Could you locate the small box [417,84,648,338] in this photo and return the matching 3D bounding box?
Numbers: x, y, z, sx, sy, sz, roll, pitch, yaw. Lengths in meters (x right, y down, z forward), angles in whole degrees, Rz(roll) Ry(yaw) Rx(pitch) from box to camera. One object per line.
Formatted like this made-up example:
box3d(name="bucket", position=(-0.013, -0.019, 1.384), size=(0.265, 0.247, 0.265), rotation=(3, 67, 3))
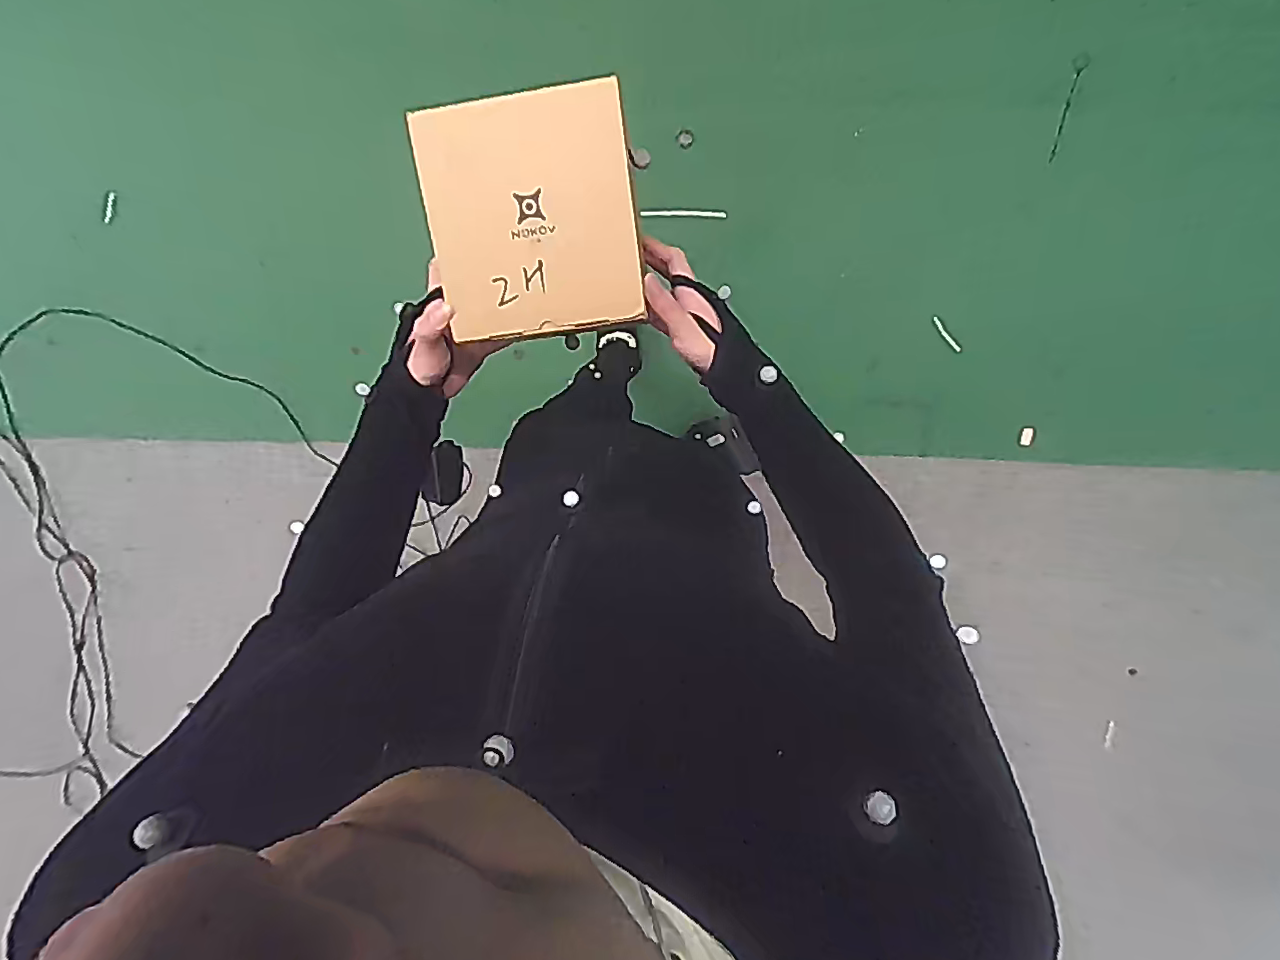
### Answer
box3d(name="small box", position=(-0.082, -0.232, 0.514), size=(0.168, 0.176, 0.179), rotation=(-5, 105, 5))
